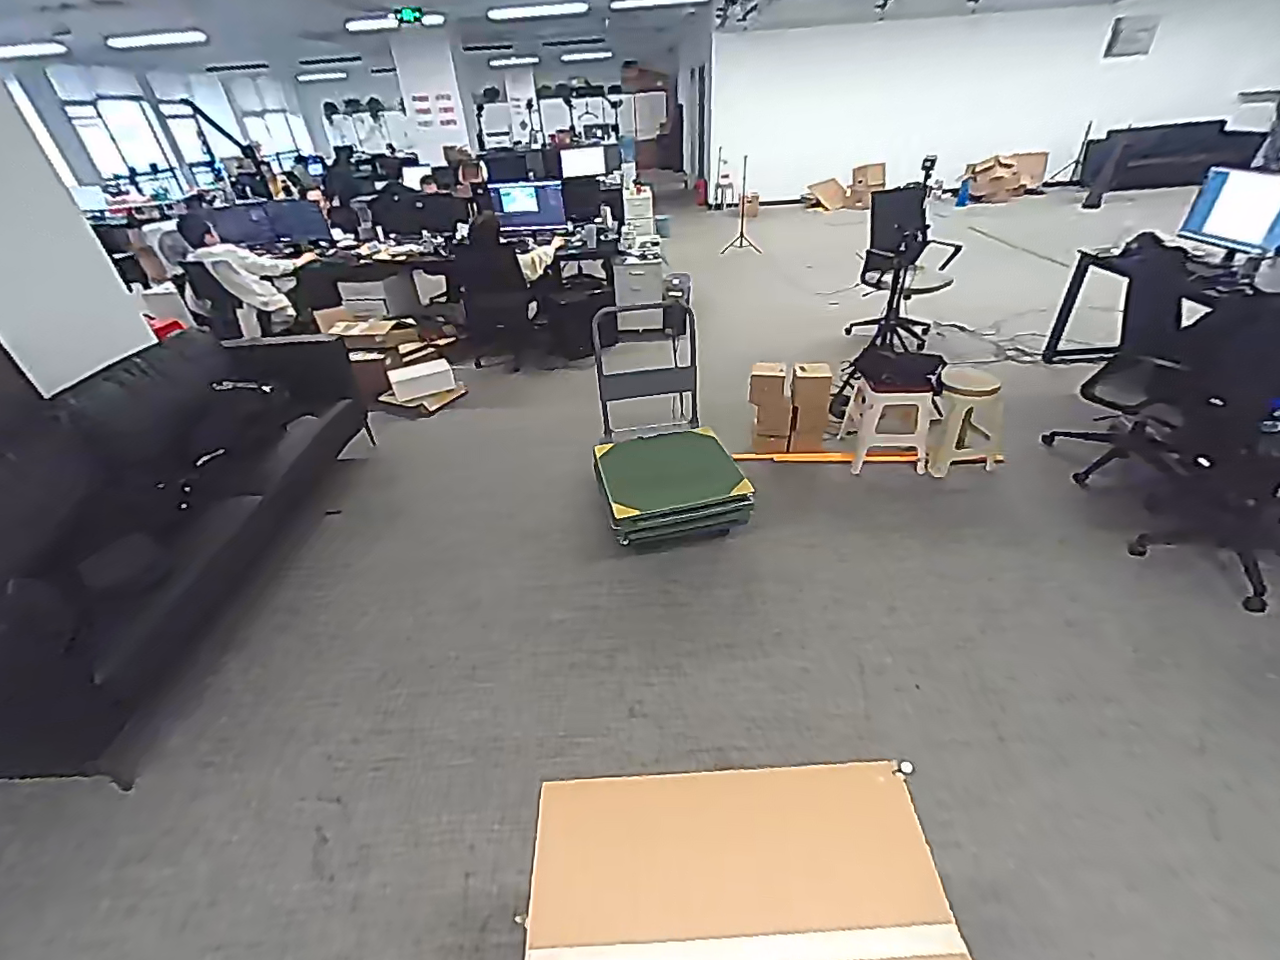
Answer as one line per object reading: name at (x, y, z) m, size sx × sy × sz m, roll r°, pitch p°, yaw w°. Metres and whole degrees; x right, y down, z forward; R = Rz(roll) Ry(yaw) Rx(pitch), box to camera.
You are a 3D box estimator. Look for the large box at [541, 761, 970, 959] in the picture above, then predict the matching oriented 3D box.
large box at (0.111, 0.550, 0.606) m, size 0.408 × 0.320 × 0.320 m, roll -4°, pitch 43°, yaw 0°
